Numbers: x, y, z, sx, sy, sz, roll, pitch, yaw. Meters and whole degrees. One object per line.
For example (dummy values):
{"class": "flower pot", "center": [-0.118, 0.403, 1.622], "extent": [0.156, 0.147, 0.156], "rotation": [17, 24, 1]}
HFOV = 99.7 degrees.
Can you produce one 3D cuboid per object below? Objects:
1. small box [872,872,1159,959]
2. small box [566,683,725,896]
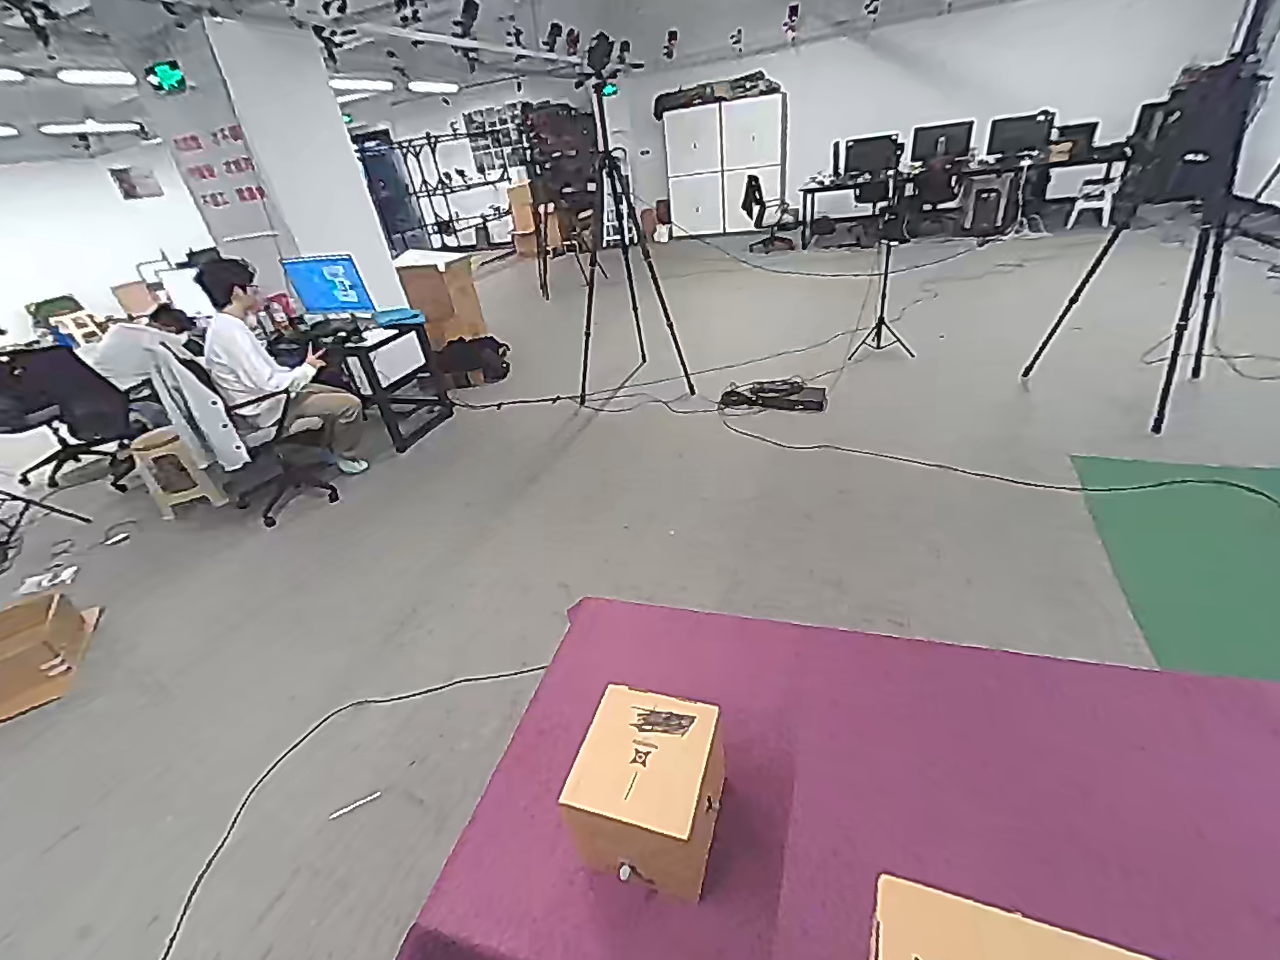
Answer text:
{"class": "small box", "center": [0.253, 0.416, 0.368], "extent": [0.179, 0.176, 0.168], "rotation": [3, 39, 25]}
{"class": "small box", "center": [0.020, 0.418, 0.742], "extent": [0.168, 0.176, 0.179], "rotation": [4, 35, 20]}
